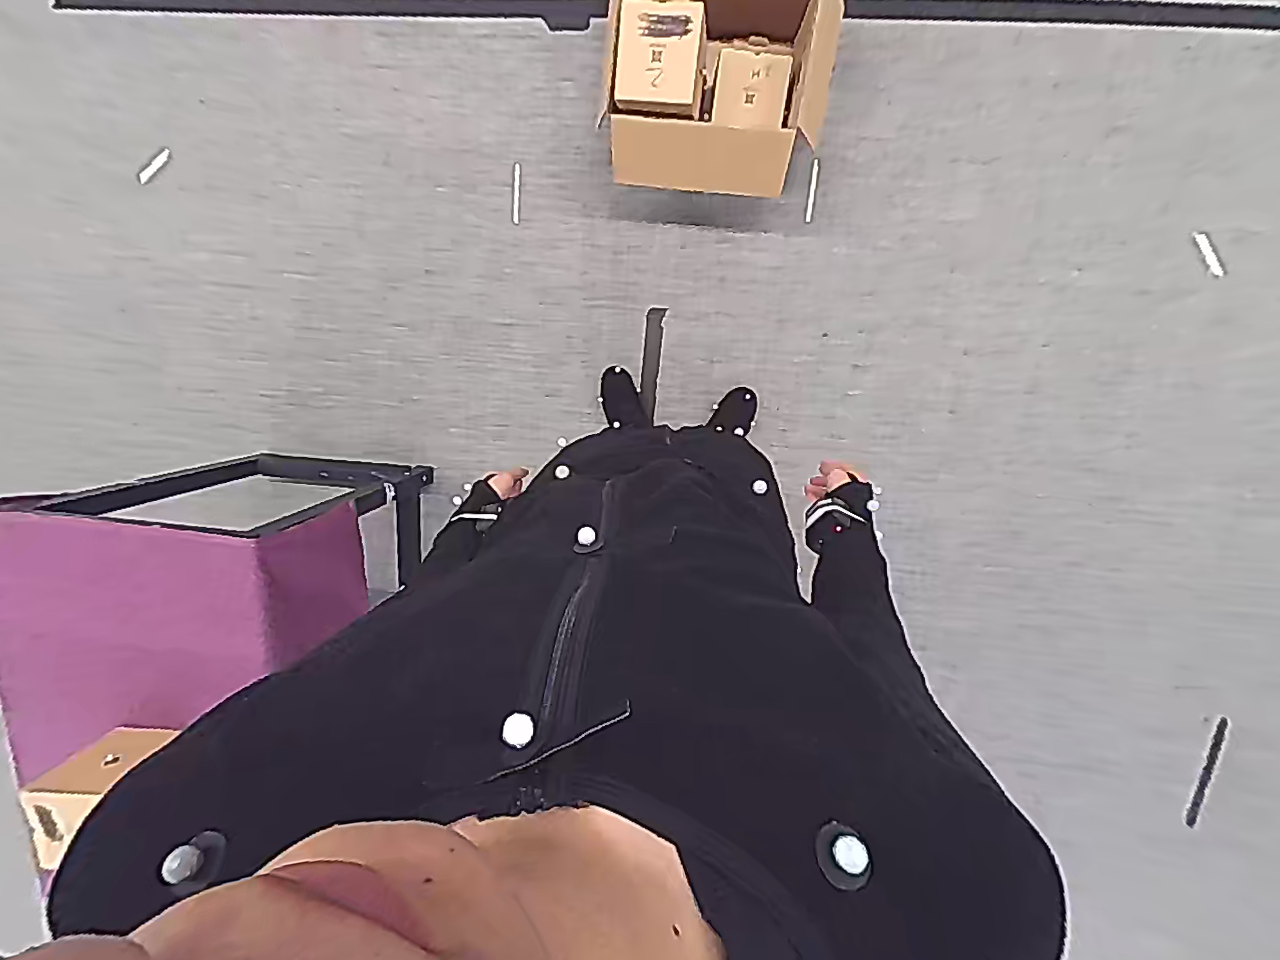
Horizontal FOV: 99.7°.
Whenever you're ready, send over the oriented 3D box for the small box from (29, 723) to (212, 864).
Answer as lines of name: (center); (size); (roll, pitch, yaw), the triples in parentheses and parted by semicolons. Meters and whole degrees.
small box: (-0.982, 0.590, 1.037); (0.179, 0.176, 0.168); (0, 103, 4)
